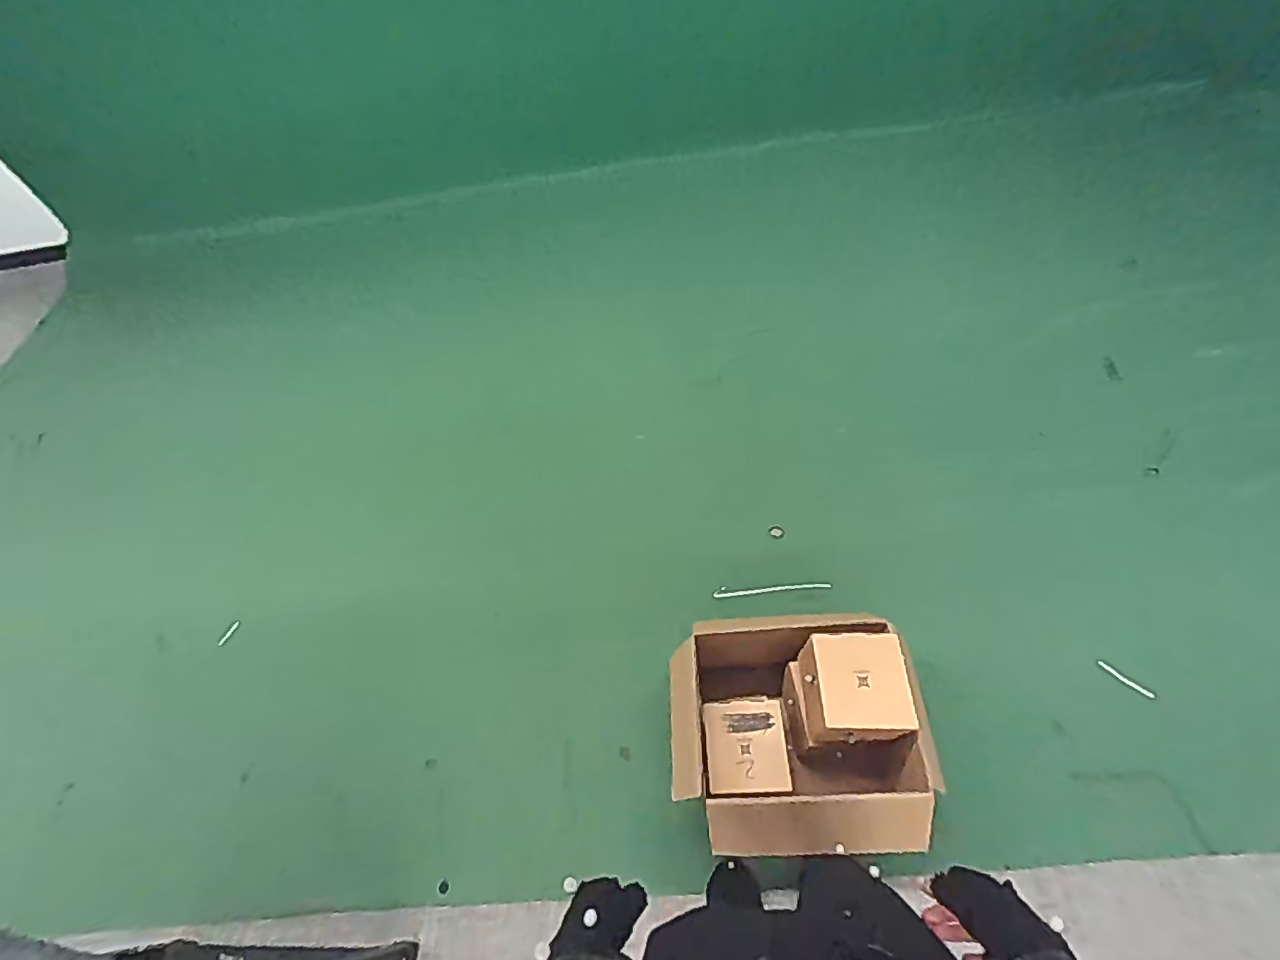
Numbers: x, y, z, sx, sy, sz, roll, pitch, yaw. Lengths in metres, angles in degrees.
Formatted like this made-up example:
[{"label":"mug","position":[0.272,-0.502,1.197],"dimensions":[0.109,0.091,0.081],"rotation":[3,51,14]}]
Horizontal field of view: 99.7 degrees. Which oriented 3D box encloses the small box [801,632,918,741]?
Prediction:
[{"label":"small box","position":[0.425,0.415,1.078],"dimensions":[0.168,0.176,0.179],"rotation":[-2,56,5]}]
